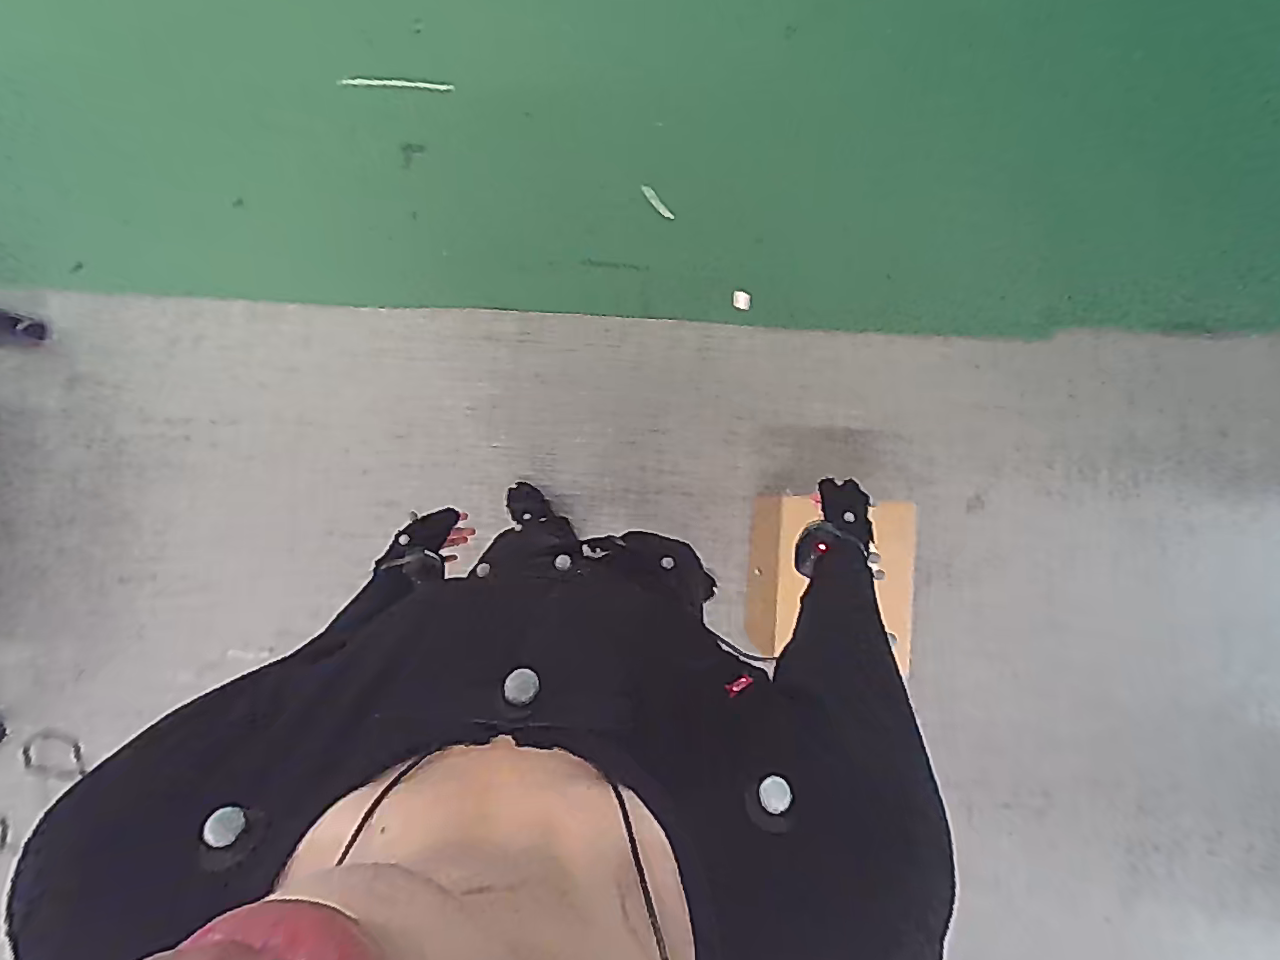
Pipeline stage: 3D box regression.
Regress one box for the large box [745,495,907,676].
[{"bbox_3d":[0.456,0.252,1.386,0.320,0.320,0.408,4,86,-2],"label":"large box"}]
